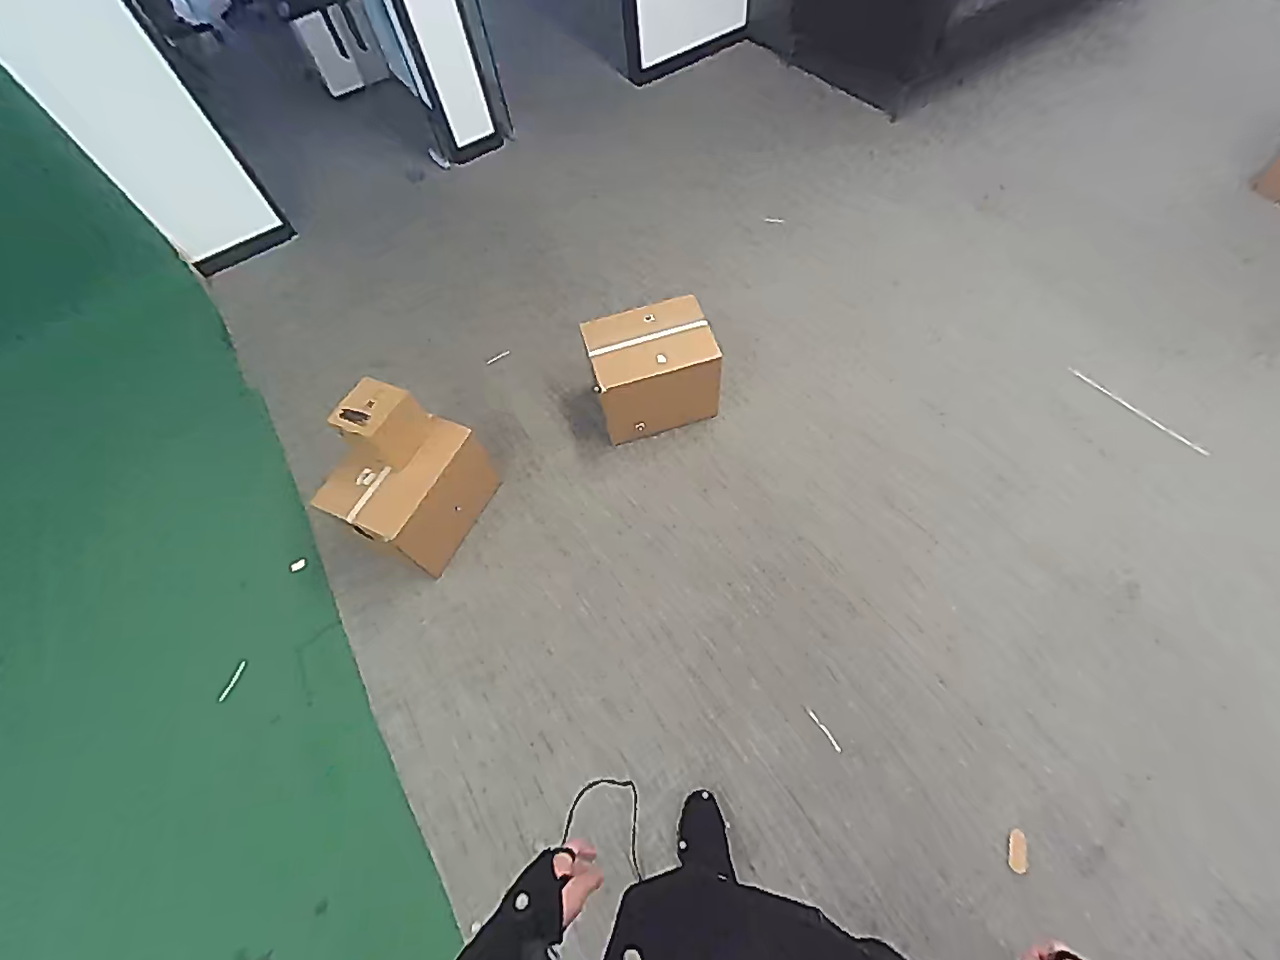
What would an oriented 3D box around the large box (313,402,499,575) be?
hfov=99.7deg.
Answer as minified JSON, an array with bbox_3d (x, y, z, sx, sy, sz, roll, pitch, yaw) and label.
[{"bbox_3d":[-0.715,0.028,1.725,0.320,0.320,0.408,19,64,17],"label":"large box"}]
